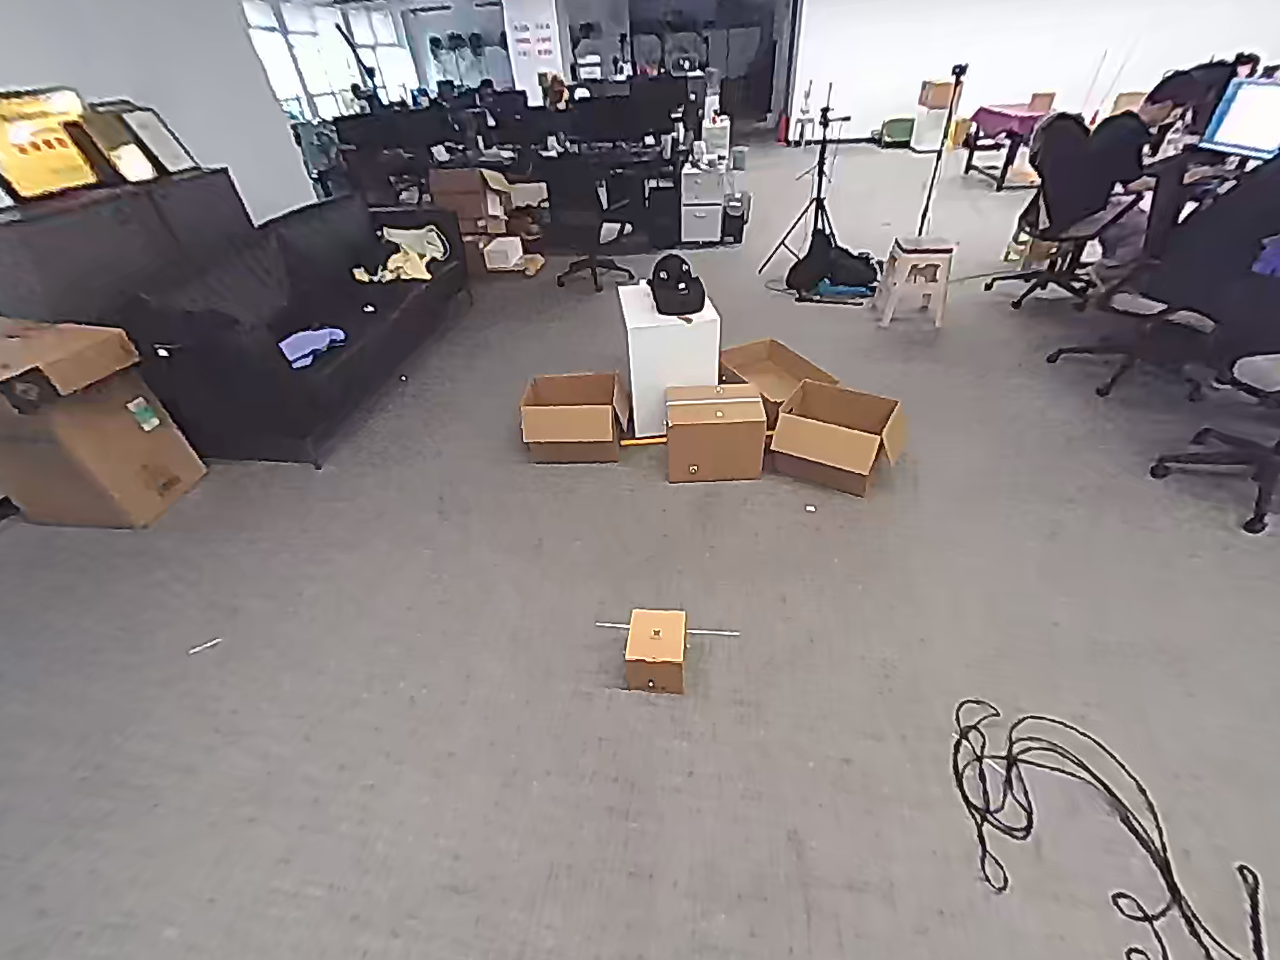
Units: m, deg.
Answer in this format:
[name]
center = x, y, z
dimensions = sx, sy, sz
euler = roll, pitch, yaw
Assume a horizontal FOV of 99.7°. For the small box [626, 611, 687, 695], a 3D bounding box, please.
[small box]
center = 0.055, 0.517, 1.621
dimensions = 0.168, 0.176, 0.179
euler = 1, 39, 7
